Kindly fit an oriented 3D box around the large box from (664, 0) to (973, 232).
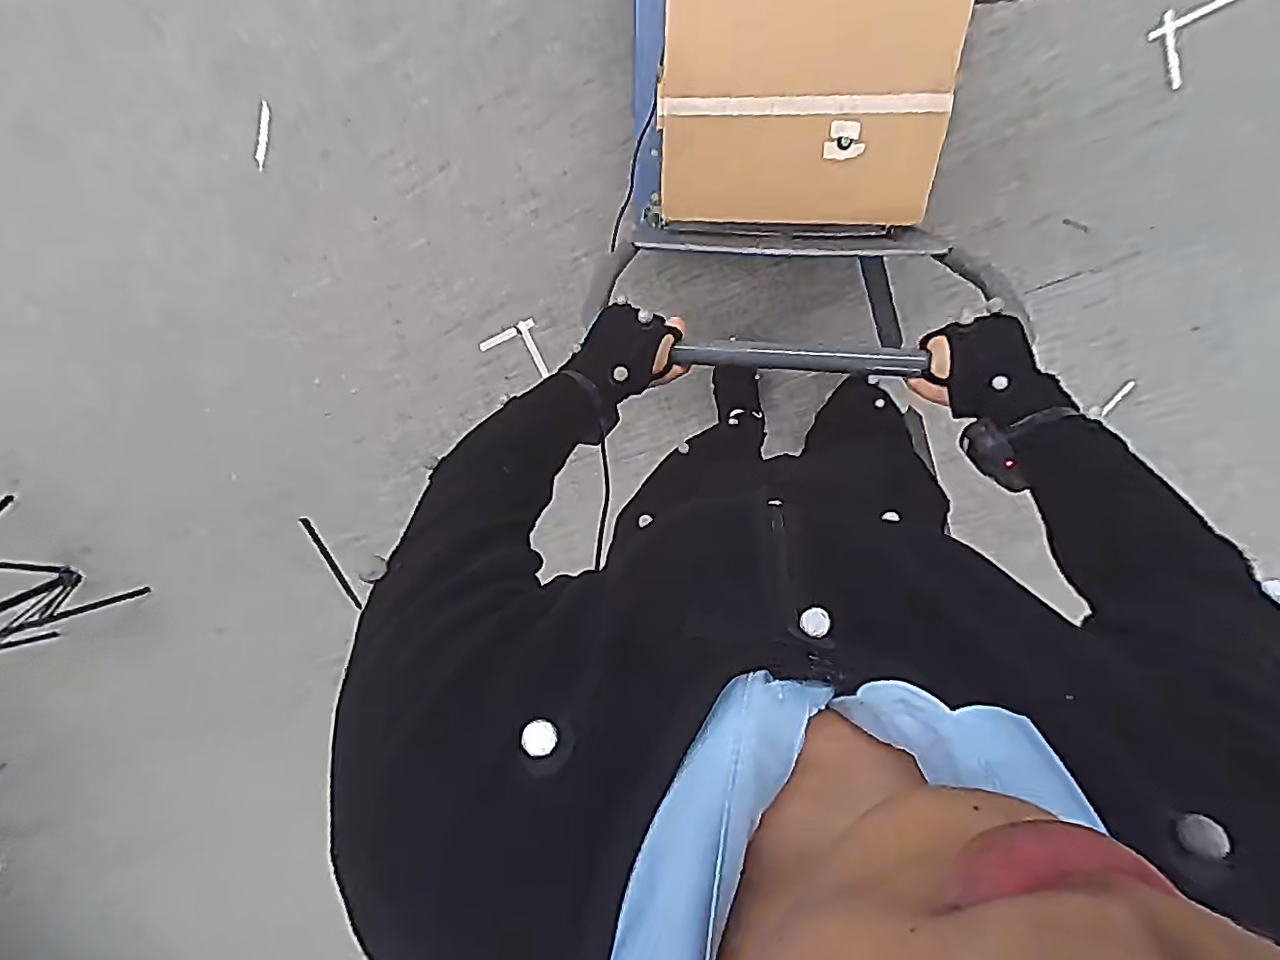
[{"bbox_3d":[0.252,-0.602,0.909,0.408,0.320,0.320,4,121,7],"label":"large box"}]
